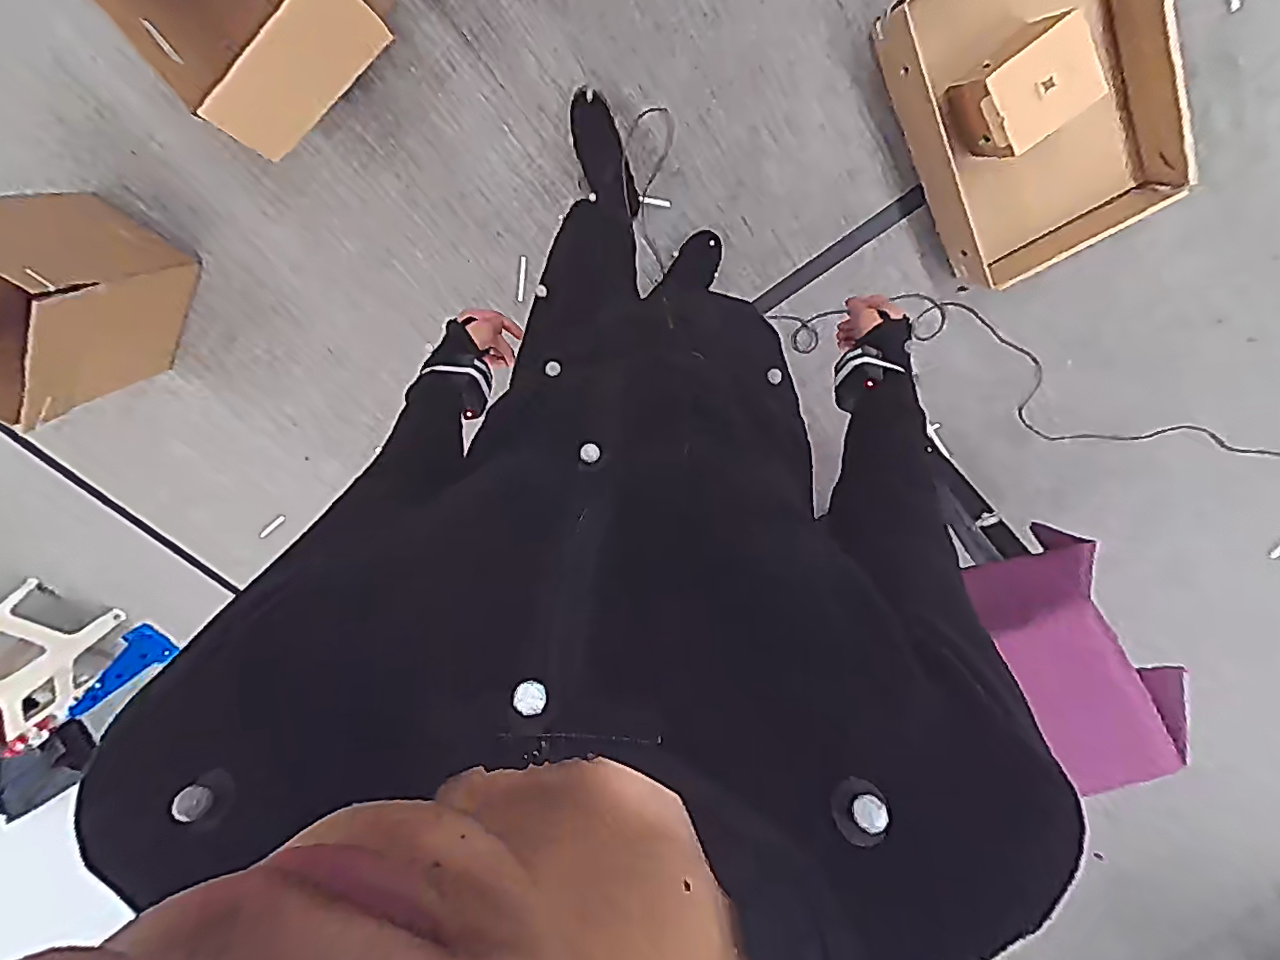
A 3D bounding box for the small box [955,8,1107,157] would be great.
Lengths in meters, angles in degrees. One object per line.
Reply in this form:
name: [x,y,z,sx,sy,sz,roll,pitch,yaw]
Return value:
small box: [0.768,-0.781,1.085,0.179,0.176,0.168,-32,114,21]
